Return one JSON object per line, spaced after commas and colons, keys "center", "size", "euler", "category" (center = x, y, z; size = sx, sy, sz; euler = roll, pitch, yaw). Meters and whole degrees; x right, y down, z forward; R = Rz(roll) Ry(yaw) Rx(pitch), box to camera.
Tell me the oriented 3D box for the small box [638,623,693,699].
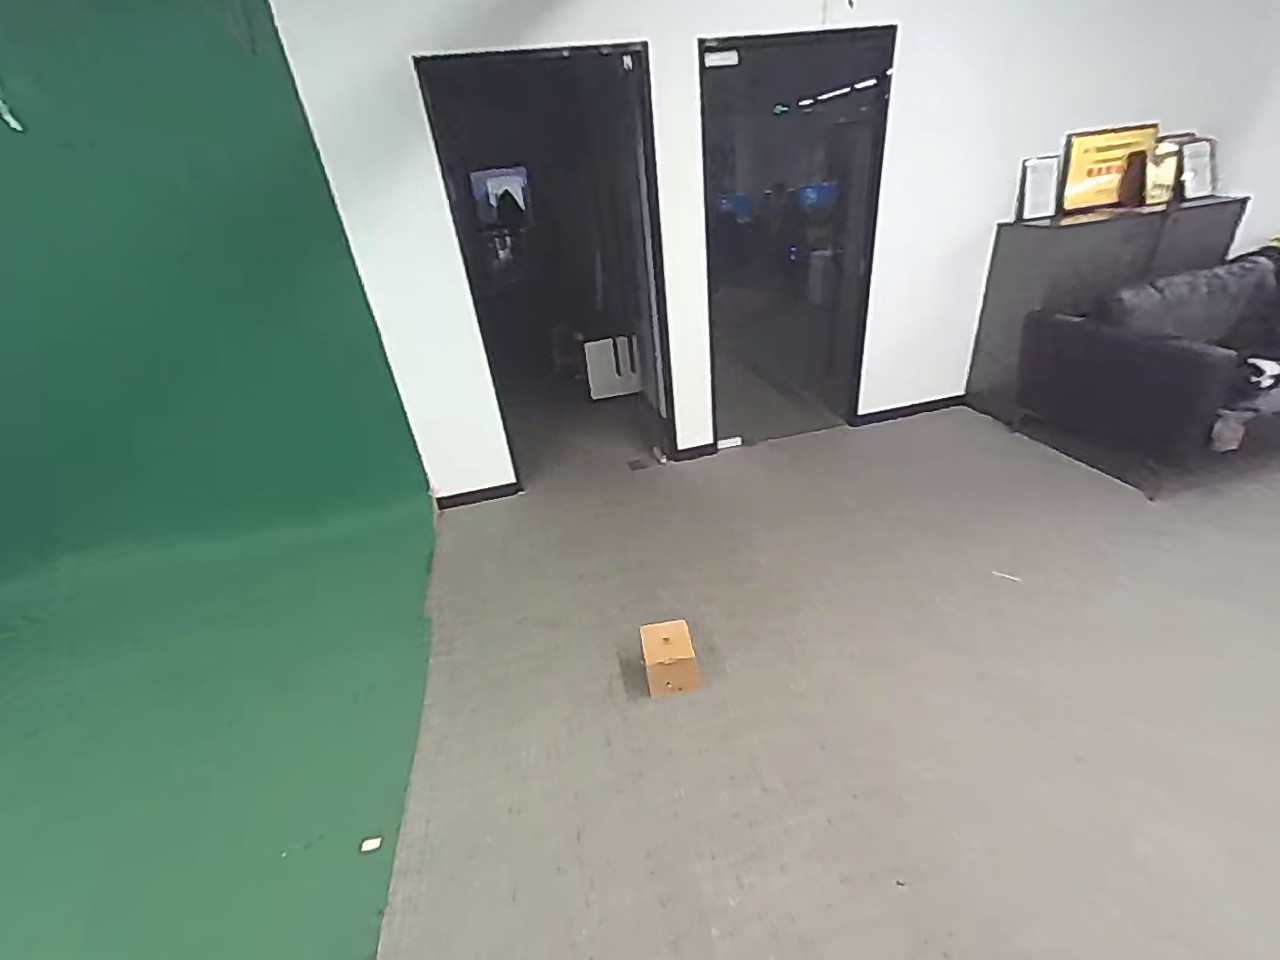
{"center": [0.087, 0.625, 1.869], "size": [0.168, 0.176, 0.179], "euler": [-8, 29, -4], "category": "small box"}
